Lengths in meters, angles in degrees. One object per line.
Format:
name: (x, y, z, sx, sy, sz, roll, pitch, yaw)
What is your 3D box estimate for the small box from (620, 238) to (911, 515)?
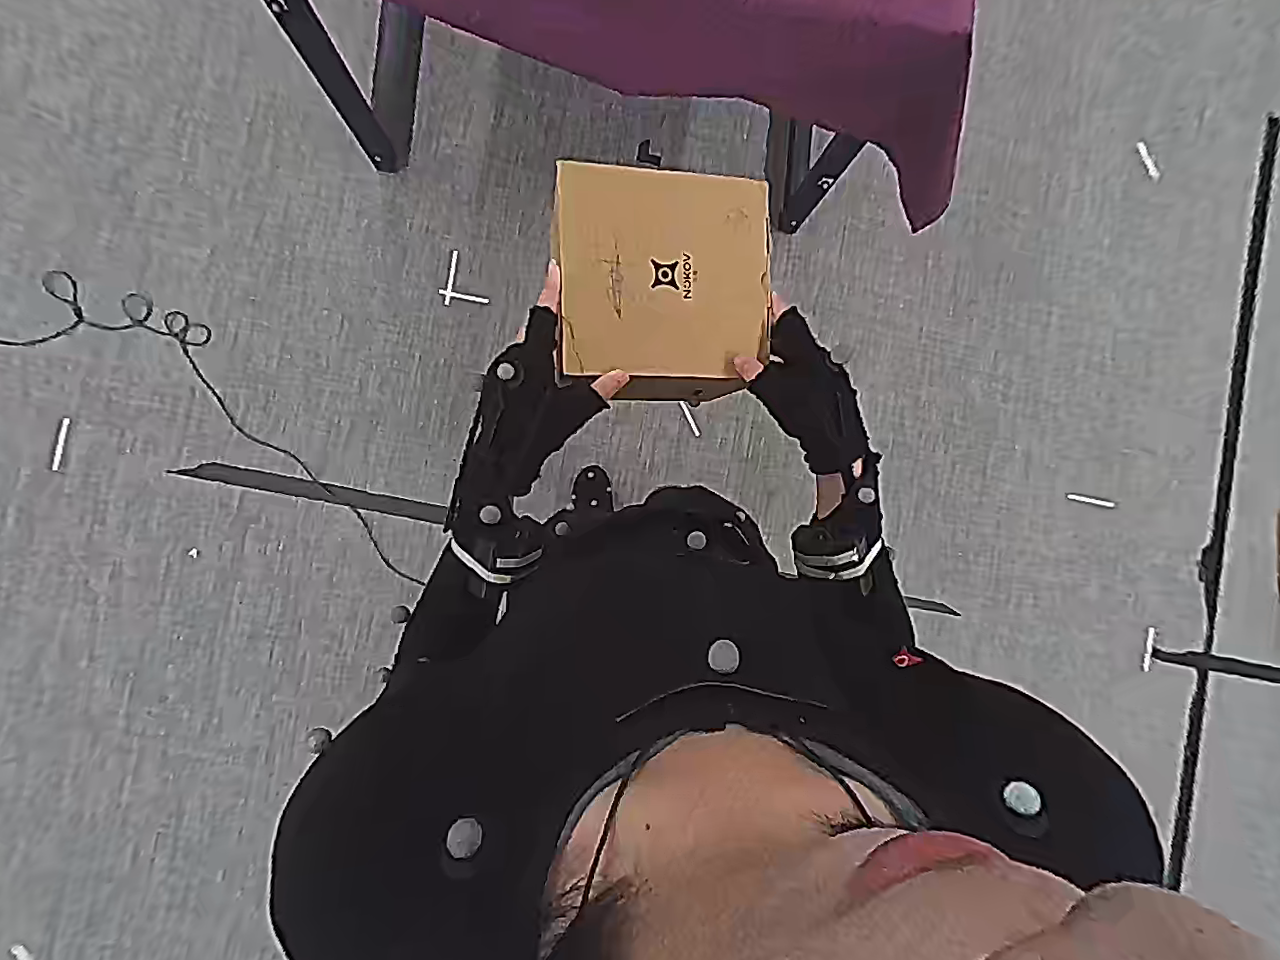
small box: (0.122, -0.098, 0.500, 0.176, 0.168, 0.179, -36, 97, -46)
